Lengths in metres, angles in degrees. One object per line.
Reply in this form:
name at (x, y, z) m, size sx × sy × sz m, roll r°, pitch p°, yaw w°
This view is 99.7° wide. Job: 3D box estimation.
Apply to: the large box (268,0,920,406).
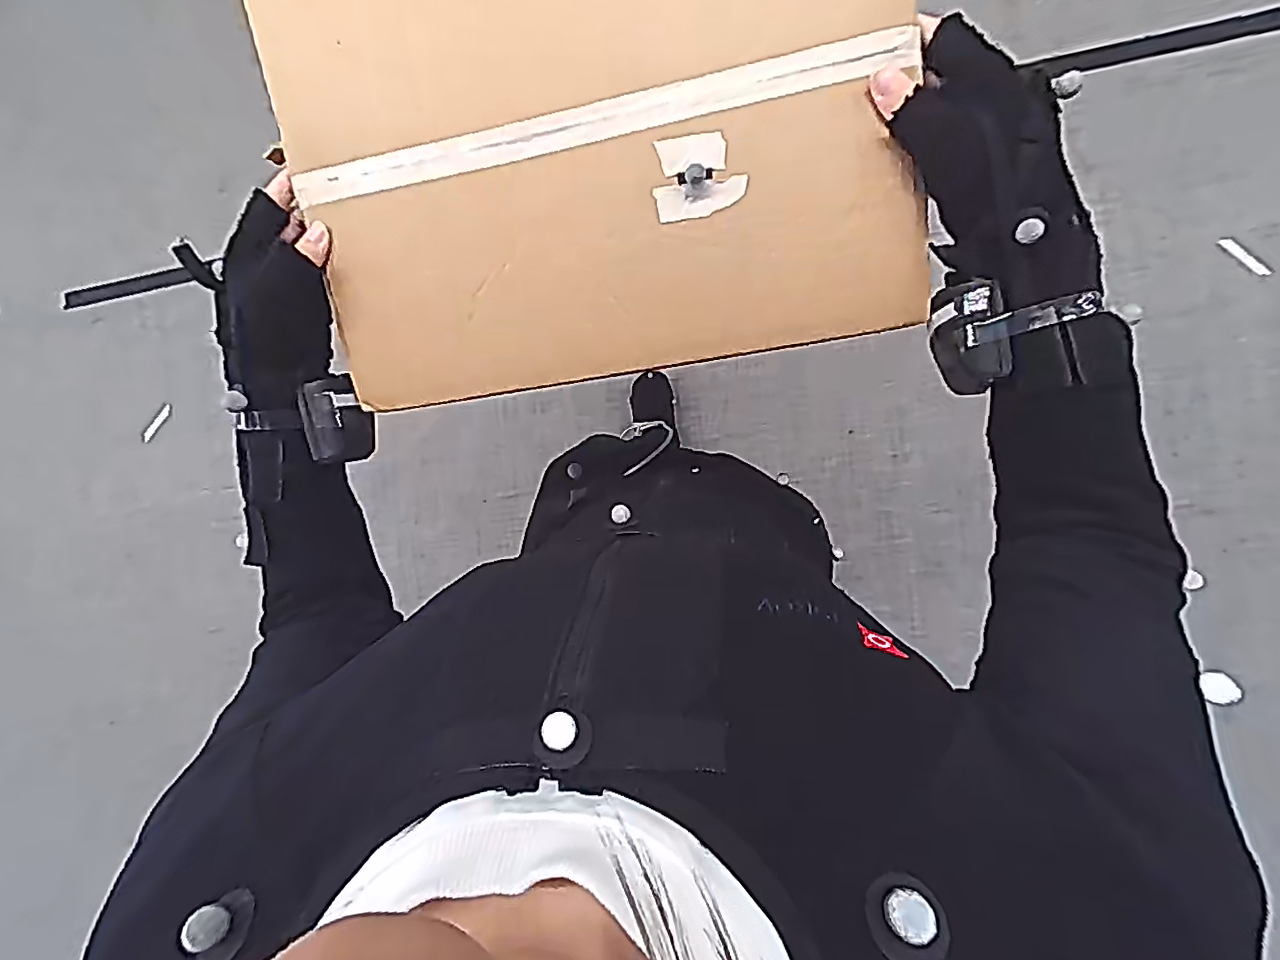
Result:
large box at (-0.019, -0.268, 0.502) m, size 0.408 × 0.320 × 0.320 m, roll -9°, pitch 104°, yaw 8°
